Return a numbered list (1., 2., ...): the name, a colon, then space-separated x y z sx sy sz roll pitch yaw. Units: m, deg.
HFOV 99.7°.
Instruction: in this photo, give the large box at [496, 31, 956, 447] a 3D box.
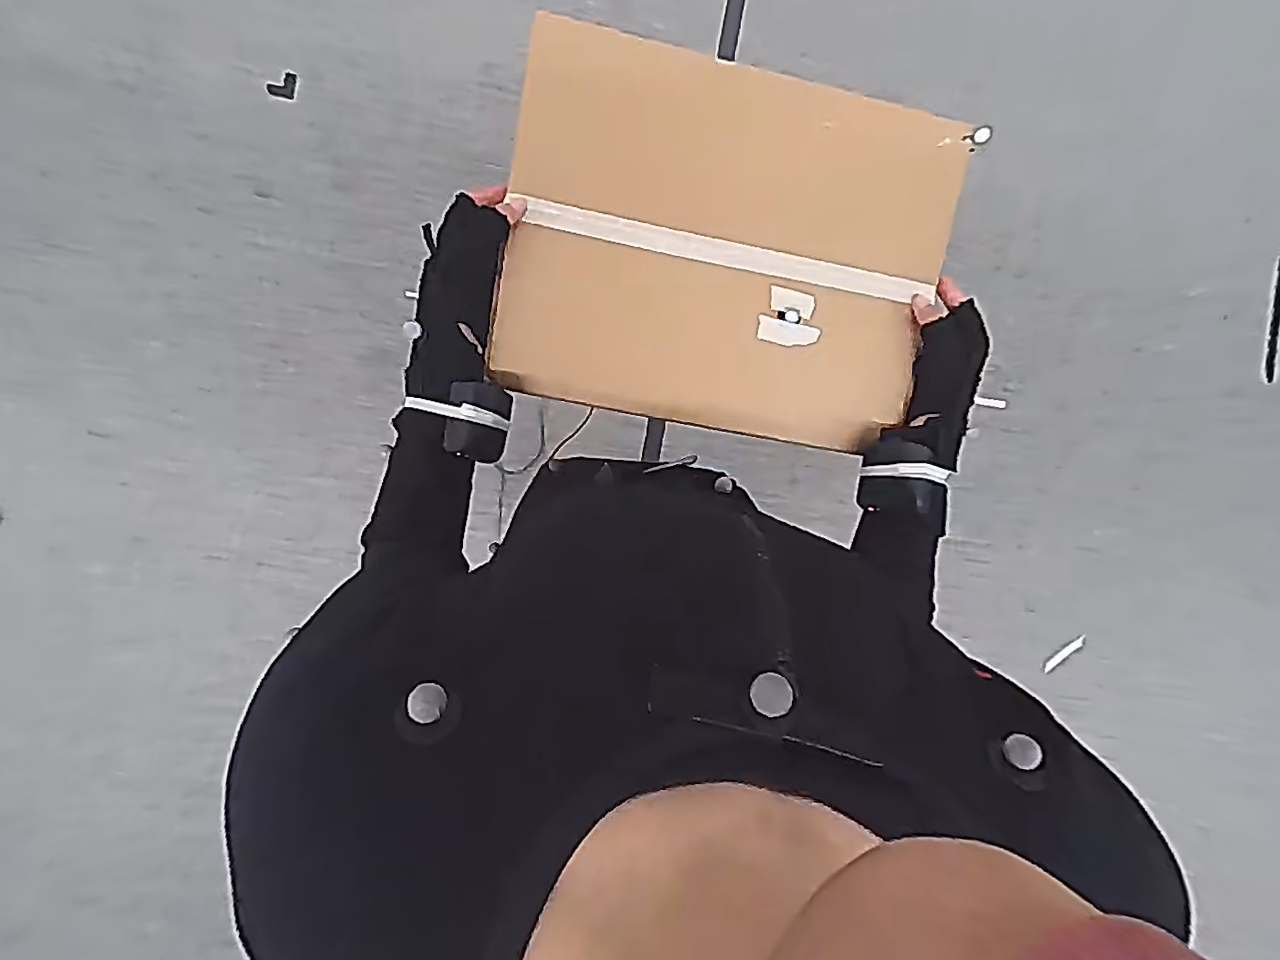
1. large box: 0.066 -0.232 0.653 0.408 0.320 0.320 10 98 -8
